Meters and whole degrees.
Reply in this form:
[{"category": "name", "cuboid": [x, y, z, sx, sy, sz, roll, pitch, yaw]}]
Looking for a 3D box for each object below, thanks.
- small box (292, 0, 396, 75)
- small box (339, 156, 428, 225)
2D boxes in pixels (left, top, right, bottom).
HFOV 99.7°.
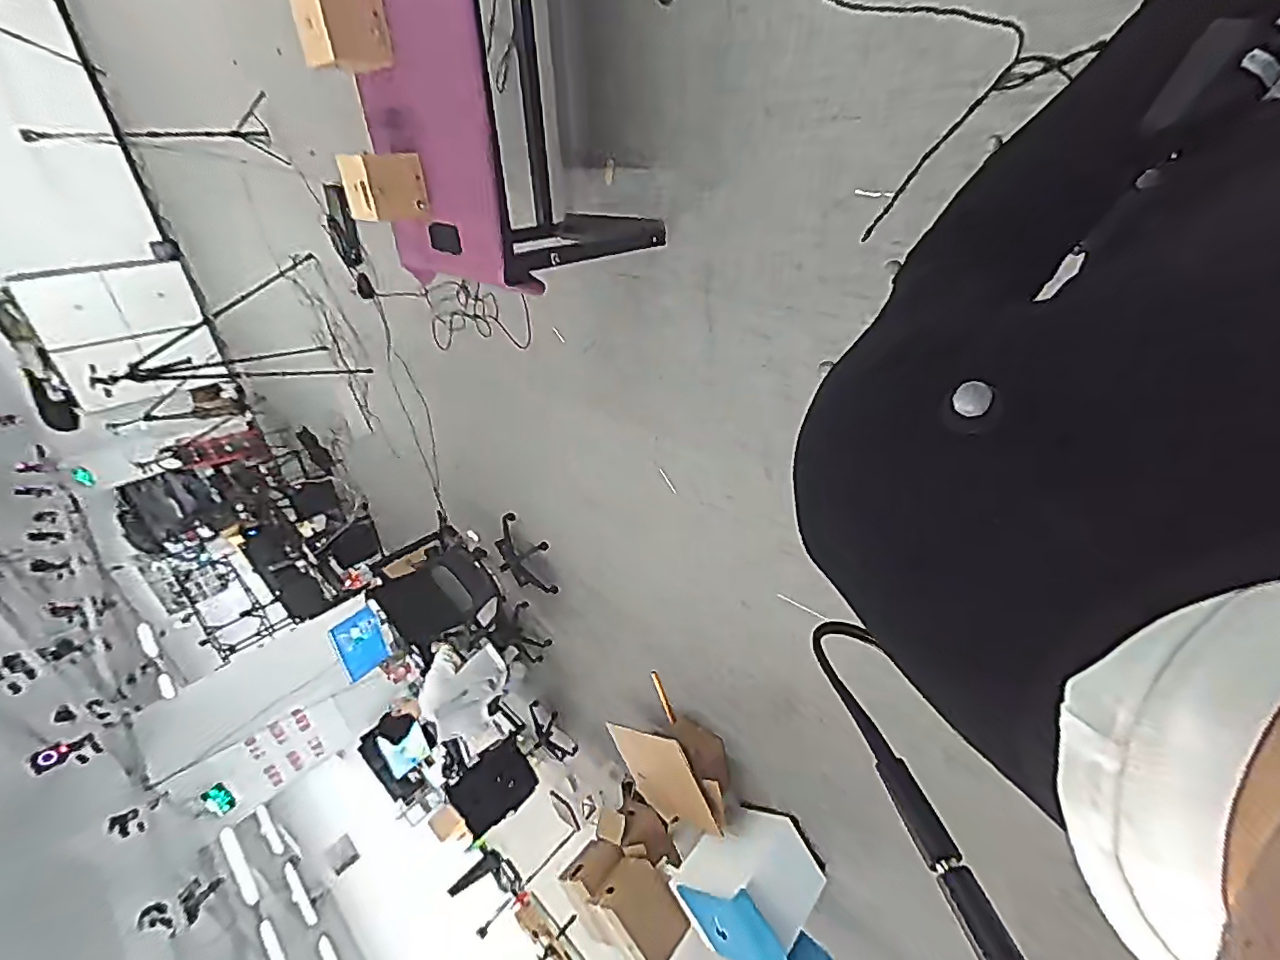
[{"category": "small box", "cuboid": [-0.770, -1.174, 1.415, 0.179, 0.176, 0.168, 24, 130, 36]}, {"category": "small box", "cuboid": [-0.743, -0.853, 1.587, 0.179, 0.176, 0.168, 25, 130, 37]}]
